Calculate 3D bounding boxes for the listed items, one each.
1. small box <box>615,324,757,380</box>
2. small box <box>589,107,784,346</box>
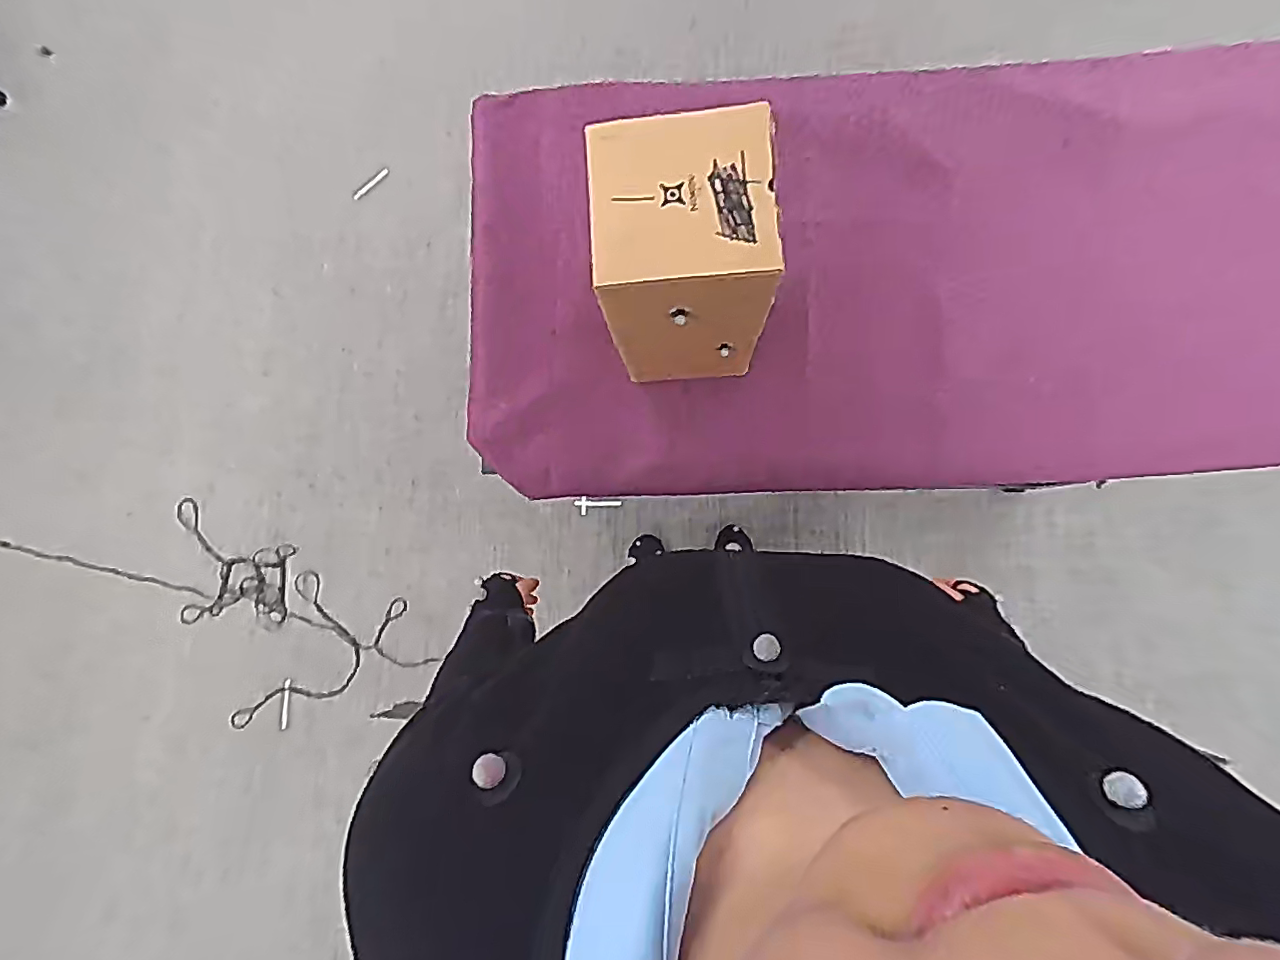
[{"bbox_3d":[0.061,-0.242,0.745,0.179,0.176,0.168,-4,84,5],"label":"small box"},{"bbox_3d":[0.047,-0.255,0.582,0.179,0.176,0.168,-4,83,5],"label":"small box"}]
